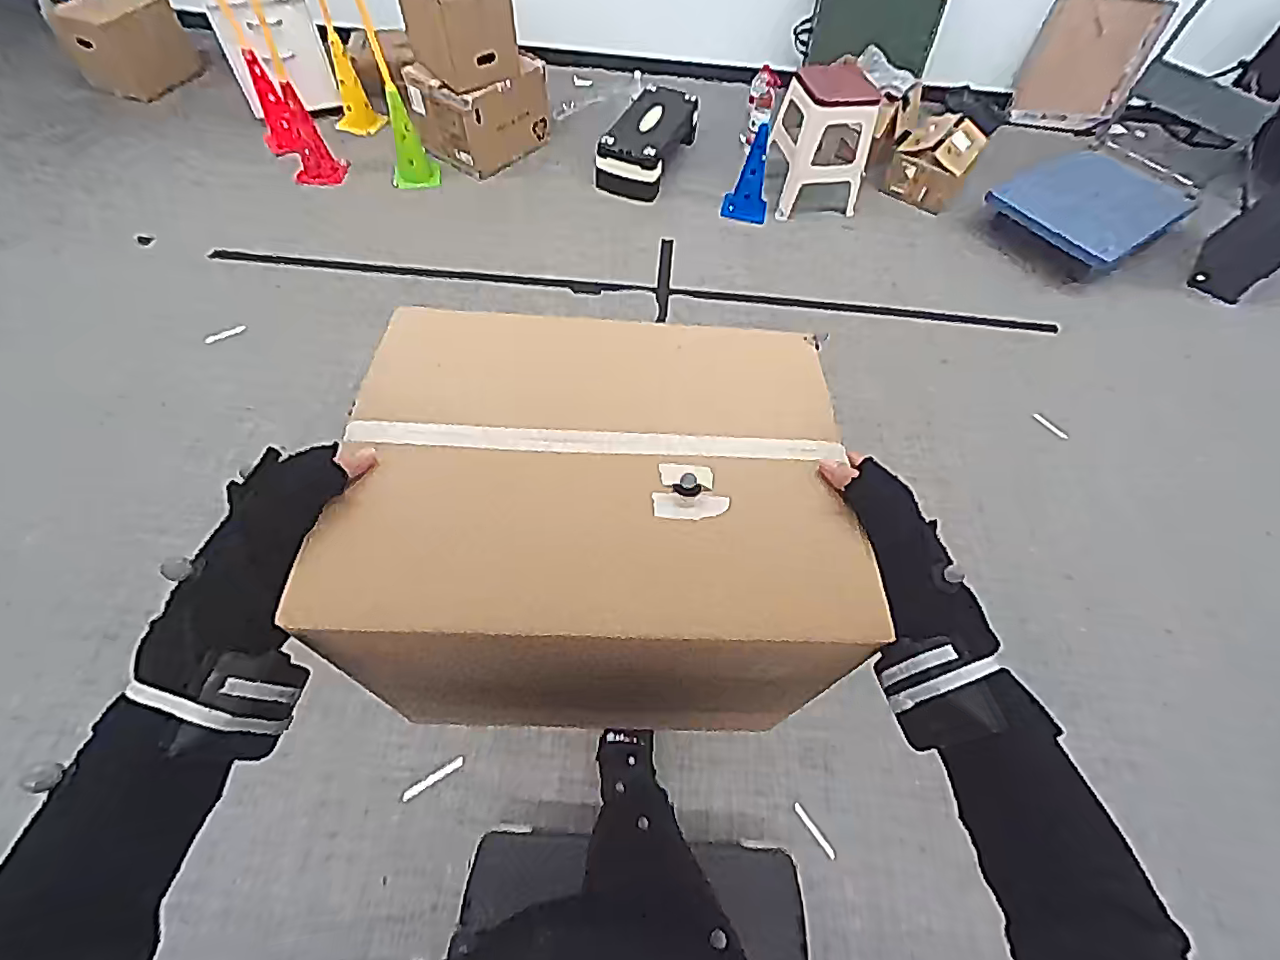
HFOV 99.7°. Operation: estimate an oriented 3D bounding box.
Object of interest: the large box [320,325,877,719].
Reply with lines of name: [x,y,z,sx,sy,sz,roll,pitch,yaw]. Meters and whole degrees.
large box: [-0.037,0.061,0.586,0.408,0.320,0.320,3,55,-4]
